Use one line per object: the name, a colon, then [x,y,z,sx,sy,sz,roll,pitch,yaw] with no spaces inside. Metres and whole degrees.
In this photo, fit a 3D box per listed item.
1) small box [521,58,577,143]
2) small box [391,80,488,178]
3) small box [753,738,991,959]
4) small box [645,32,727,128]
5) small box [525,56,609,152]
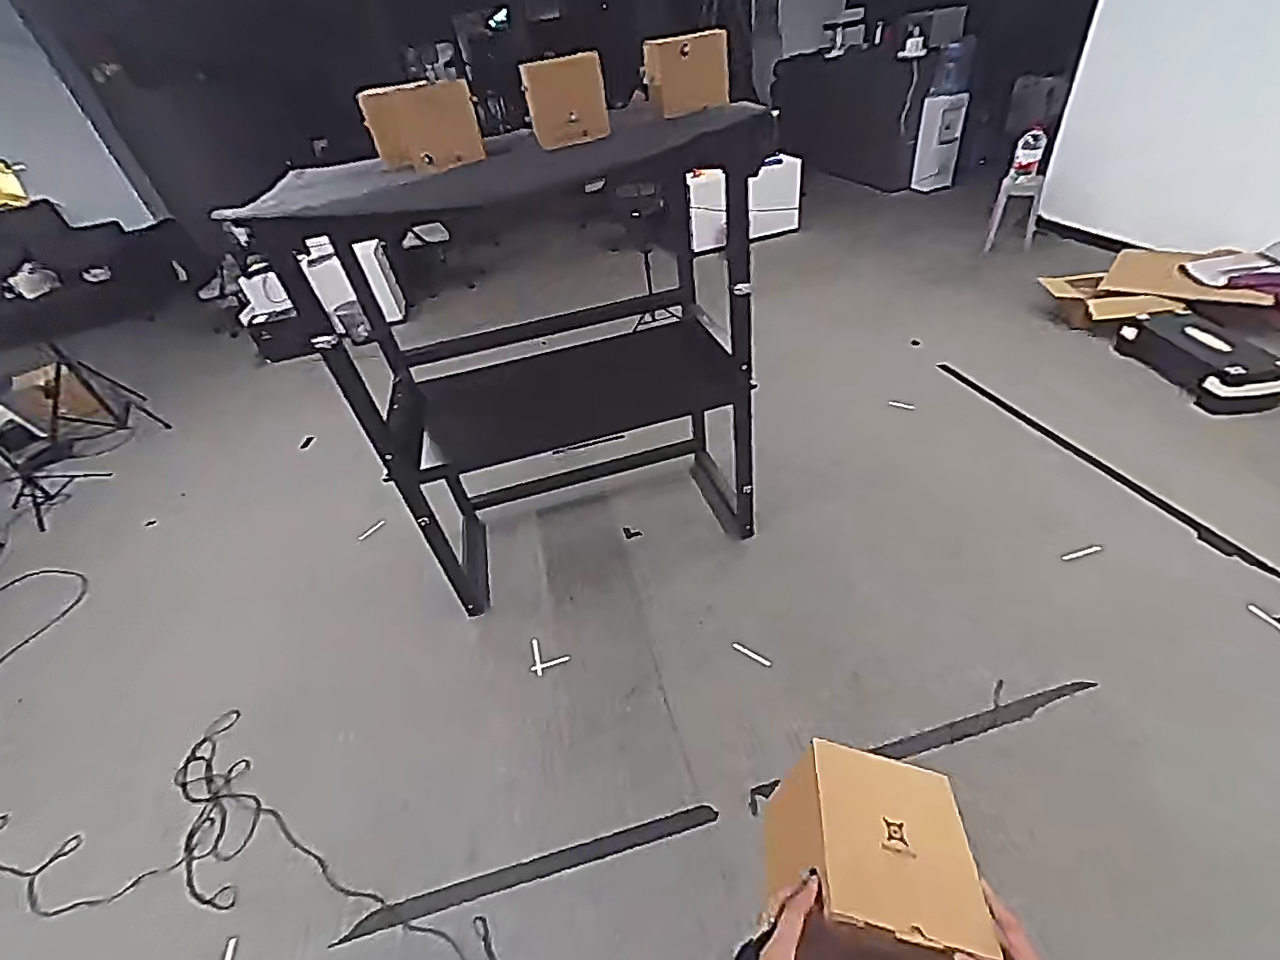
small box: [-0.225,-1.063,1.513,0.179,0.176,0.168,-14,39,-4]
small box: [-0.471,-0.837,1.294,0.168,0.176,0.179,-14,38,-5]
small box: [0.231,0.429,0.598,0.168,0.176,0.179,16,33,0]
small box: [0.115,-0.999,1.358,0.168,0.176,0.179,-14,39,-2]
small box: [-0.179,-0.913,1.318,0.168,0.176,0.179,-14,38,-4]
